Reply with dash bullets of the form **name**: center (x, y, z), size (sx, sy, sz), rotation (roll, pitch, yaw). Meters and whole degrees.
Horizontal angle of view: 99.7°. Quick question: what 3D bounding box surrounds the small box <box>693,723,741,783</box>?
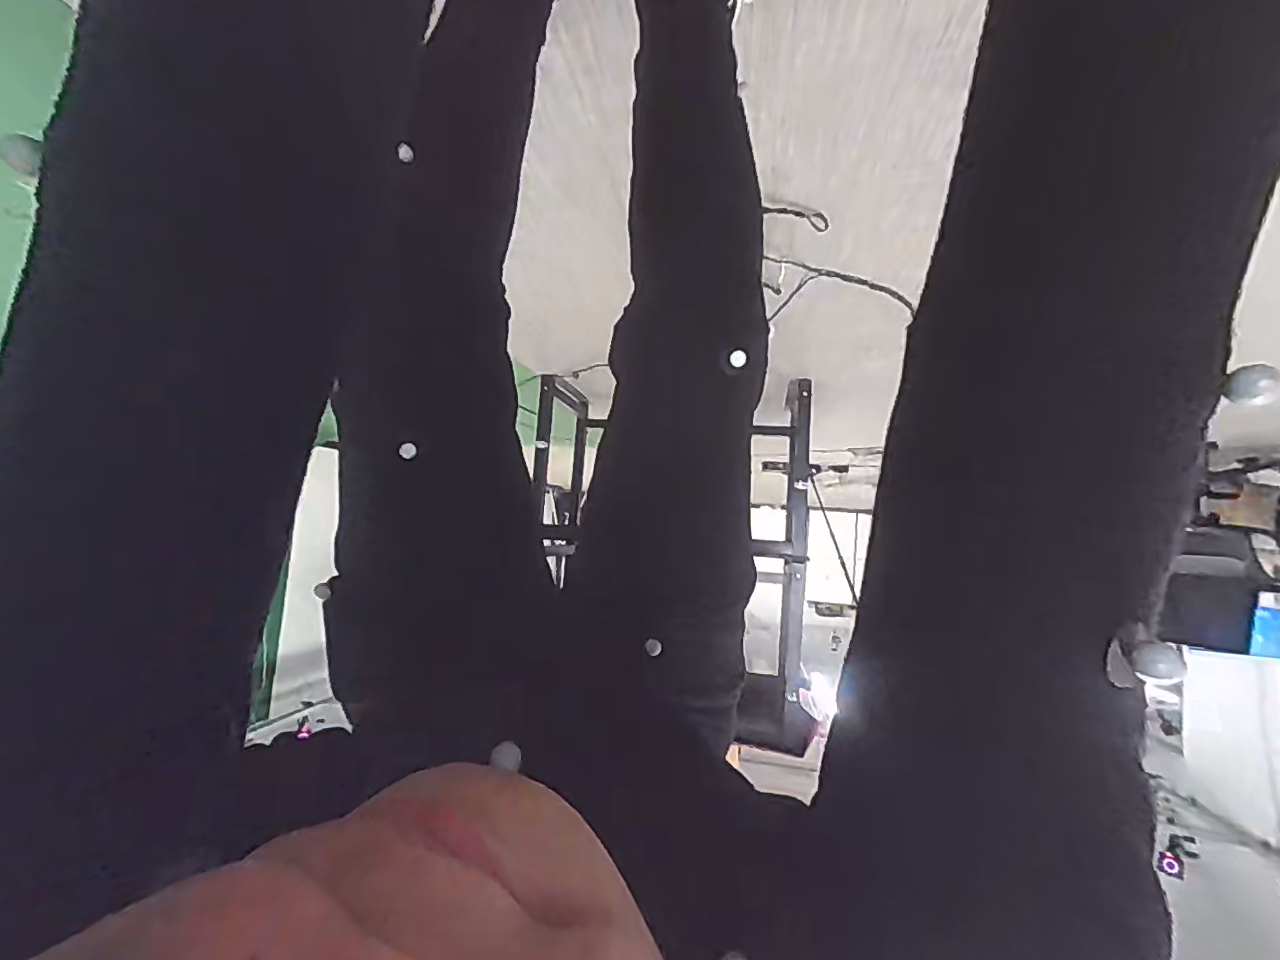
- **small box**: center (0.324, 1.130, 2.256), size (0.179, 0.176, 0.168), rotation (4, 175, 12)
